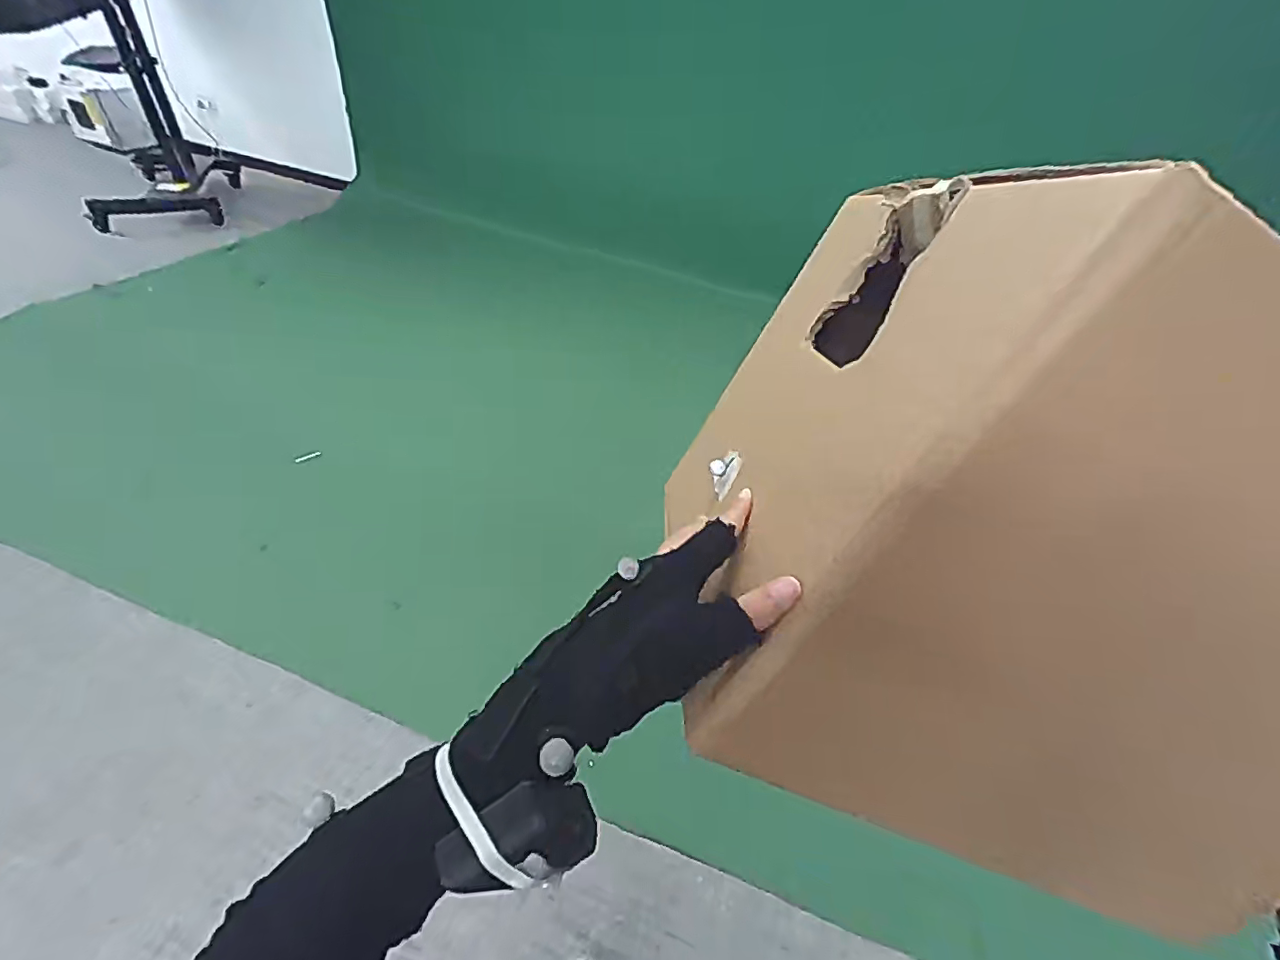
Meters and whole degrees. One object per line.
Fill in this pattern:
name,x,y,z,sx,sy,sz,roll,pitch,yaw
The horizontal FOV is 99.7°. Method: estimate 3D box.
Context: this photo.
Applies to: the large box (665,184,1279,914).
large box,0.269,0.041,0.416,0.408,0.320,0.320,27,24,-12
